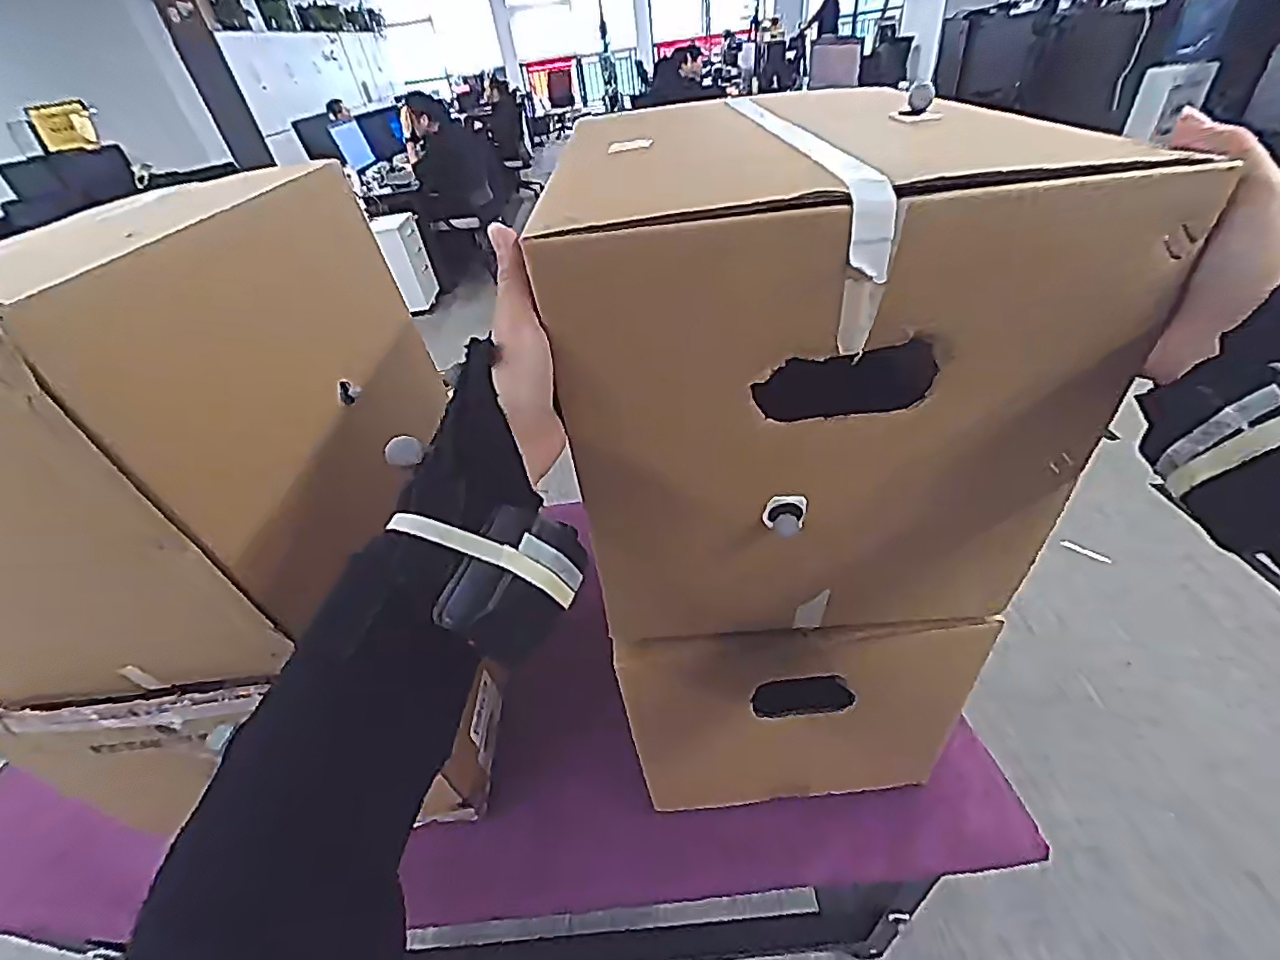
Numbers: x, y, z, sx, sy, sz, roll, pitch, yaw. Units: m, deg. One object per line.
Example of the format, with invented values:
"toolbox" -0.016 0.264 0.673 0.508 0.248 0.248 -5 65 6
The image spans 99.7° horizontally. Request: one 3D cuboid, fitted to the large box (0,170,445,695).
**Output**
"large box" -0.433 -0.066 0.526 0.320 0.320 0.408 -9 40 6
